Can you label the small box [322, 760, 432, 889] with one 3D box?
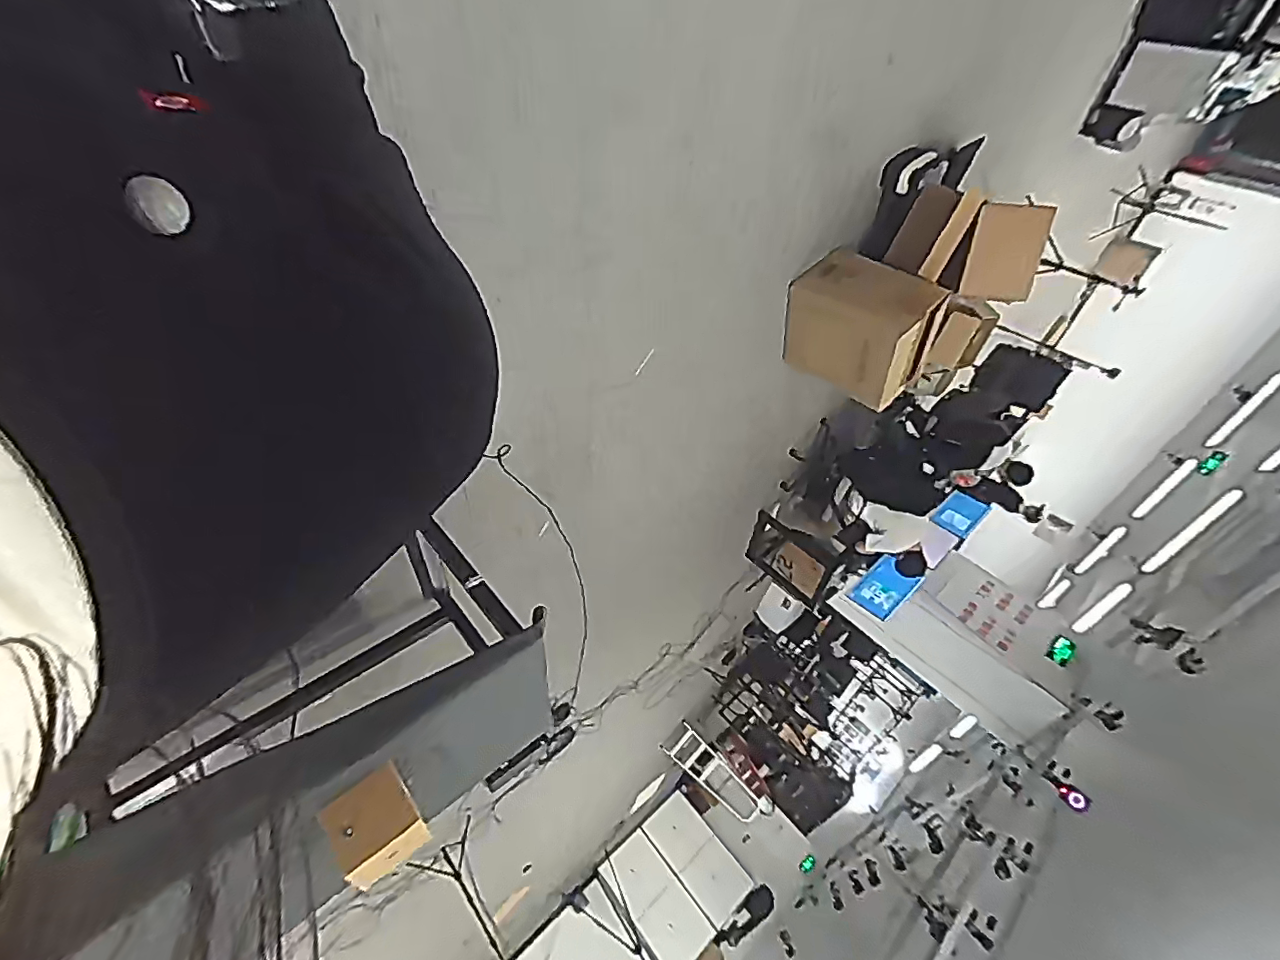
[{"bbox_3d":[-0.632,0.820,1.295,0.179,0.176,0.168,-31,146,-32],"label":"small box"}]
